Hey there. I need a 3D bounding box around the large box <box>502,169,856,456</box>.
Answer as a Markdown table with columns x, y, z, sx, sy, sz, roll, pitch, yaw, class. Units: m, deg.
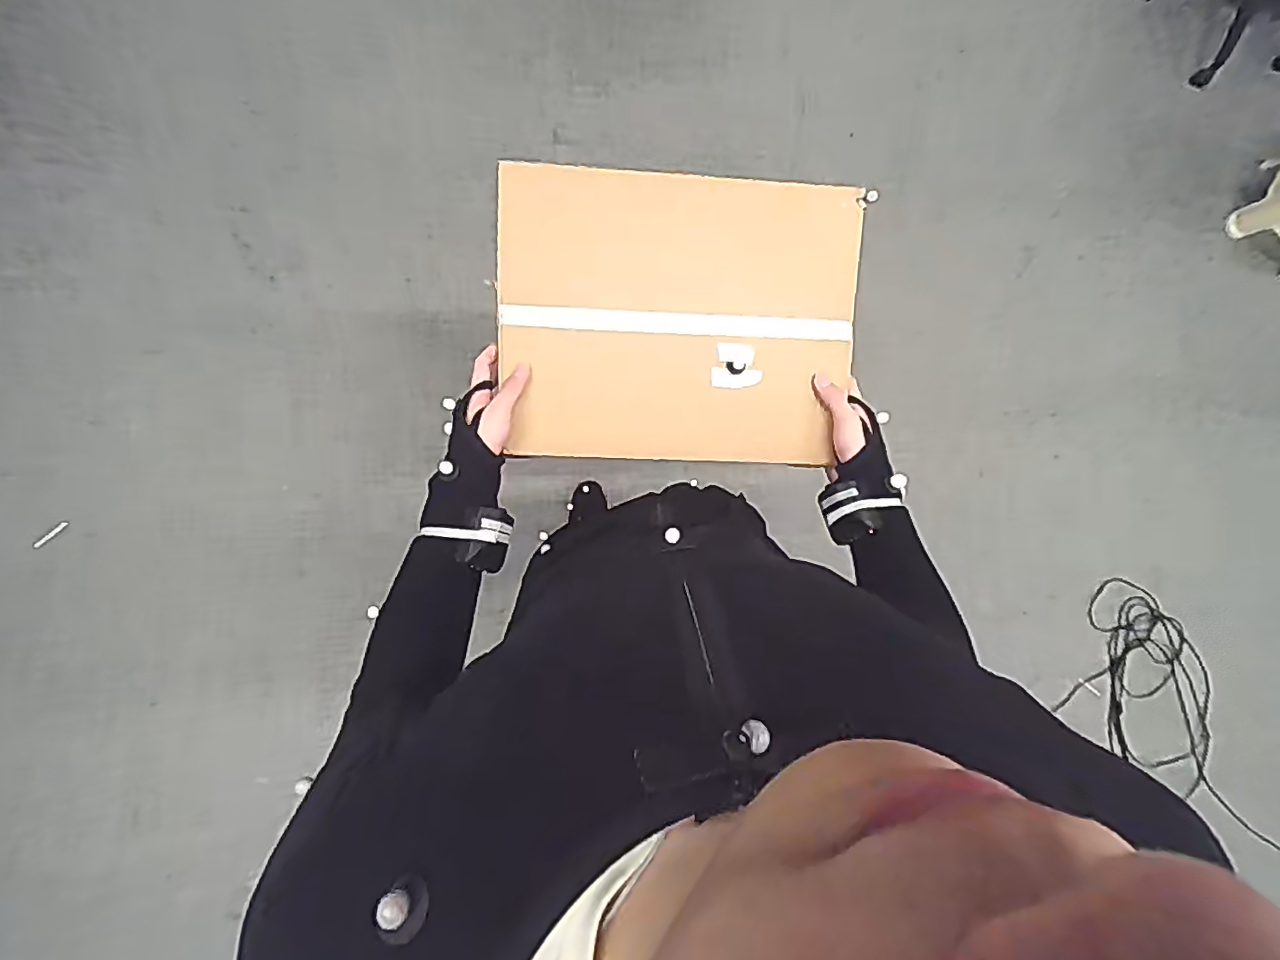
| x | y | z | sx | sy | sz | roll | pitch | yaw | class |
| --- | --- | --- | --- | --- | --- | --- | --- | --- | --- |
| 0.033 | -0.206 | 0.766 | 0.408 | 0.320 | 0.320 | 0 | 100 | -5 | large box |
